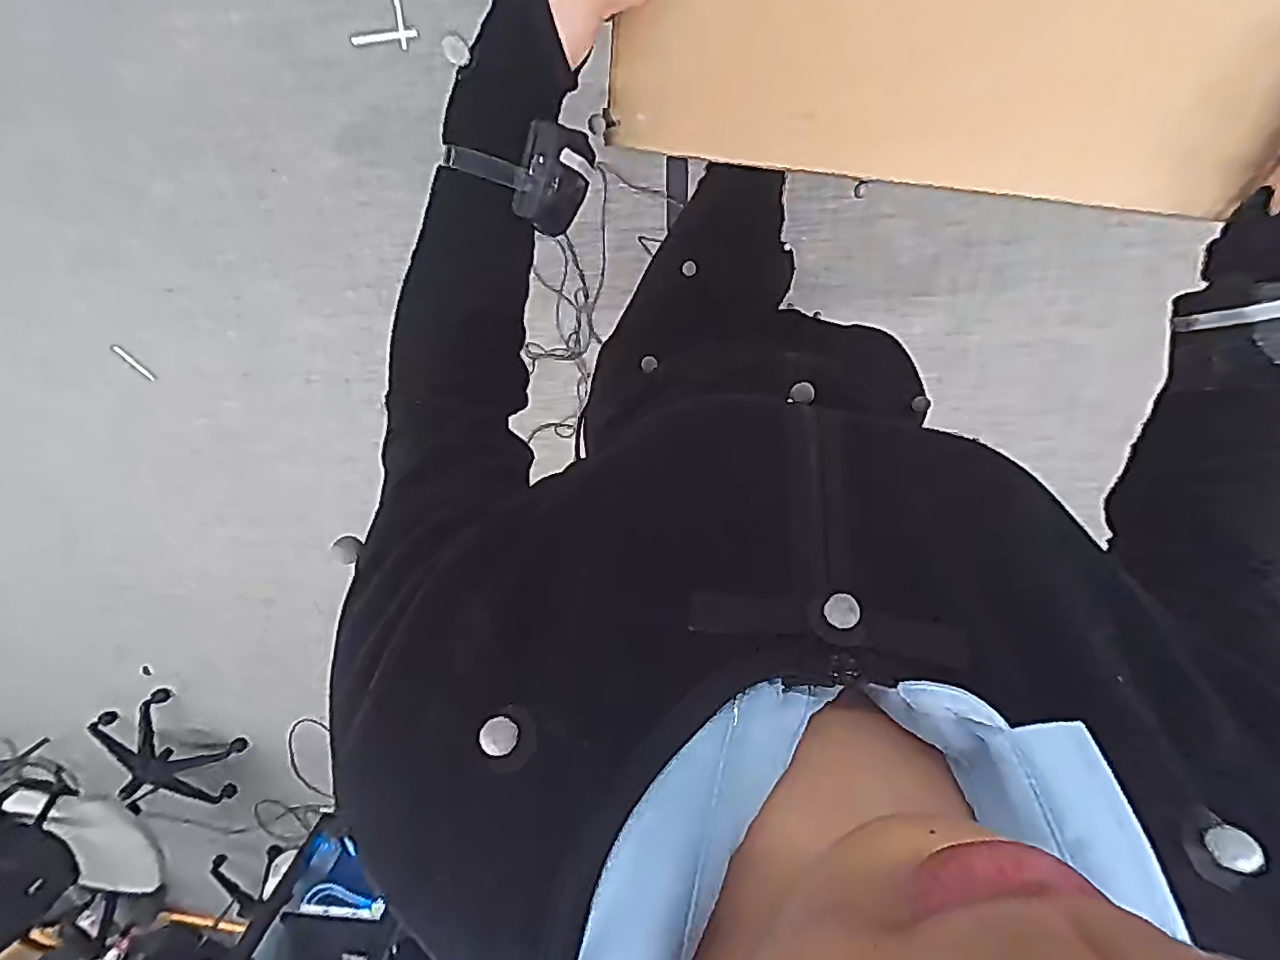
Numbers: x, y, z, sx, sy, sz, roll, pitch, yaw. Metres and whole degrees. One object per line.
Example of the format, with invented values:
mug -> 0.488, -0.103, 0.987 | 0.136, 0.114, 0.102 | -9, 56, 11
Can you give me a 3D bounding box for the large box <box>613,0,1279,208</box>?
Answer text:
large box -> 0.221, -0.411, 0.417 | 0.408, 0.320, 0.320 | 12, 121, 9
